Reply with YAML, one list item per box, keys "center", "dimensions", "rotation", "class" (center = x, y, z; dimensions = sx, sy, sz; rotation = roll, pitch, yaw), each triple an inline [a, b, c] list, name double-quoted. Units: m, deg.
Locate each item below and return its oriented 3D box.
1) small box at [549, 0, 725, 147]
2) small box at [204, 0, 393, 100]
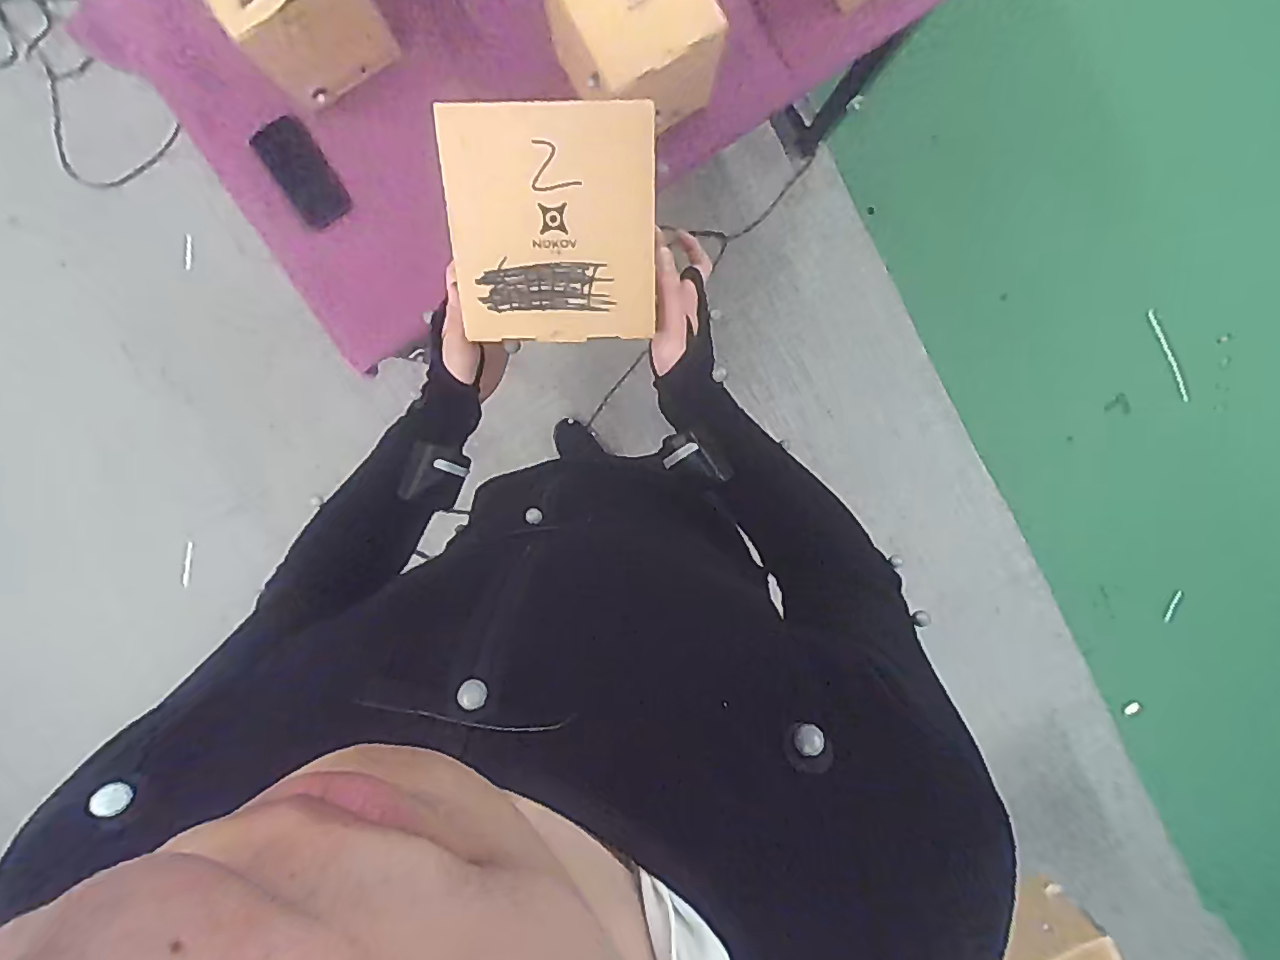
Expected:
- center: [-0.012, -0.600, 0.725]
  dimensions: [0.168, 0.176, 0.179]
  rotation: [-31, 97, 2]
  class: "small box"
- center: [-0.459, -0.640, 0.699]
  dimensions: [0.168, 0.176, 0.179]
  rotation: [-33, 98, 2]
  class: "small box"
